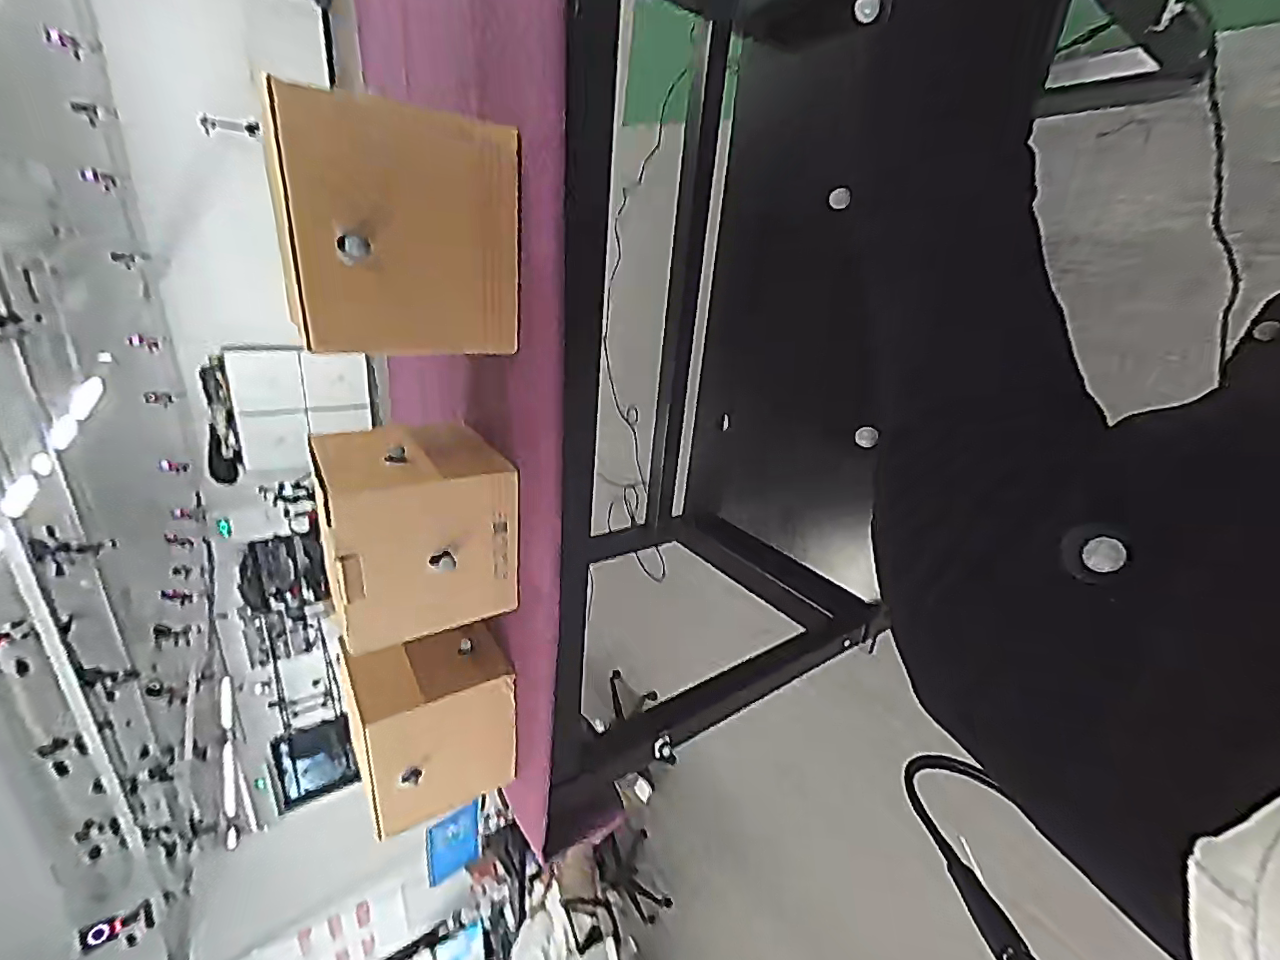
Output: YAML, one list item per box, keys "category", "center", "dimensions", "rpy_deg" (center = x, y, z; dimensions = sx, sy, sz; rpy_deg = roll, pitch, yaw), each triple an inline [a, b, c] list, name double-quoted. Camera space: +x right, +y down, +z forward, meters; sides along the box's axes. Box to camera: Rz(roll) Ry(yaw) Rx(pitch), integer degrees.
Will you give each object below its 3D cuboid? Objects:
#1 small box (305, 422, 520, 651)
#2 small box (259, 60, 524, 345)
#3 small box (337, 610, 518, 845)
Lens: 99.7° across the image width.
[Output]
- category: "small box"
  center: [-0.235, 0.041, 0.570]
  dimensions: [0.179, 0.176, 0.168]
  rpy_deg: [31, 123, 48]
- category: "small box"
  center: [-0.208, -0.220, 0.466]
  dimensions: [0.168, 0.176, 0.179]
  rpy_deg: [33, 126, 48]
- category: "small box"
  center: [-0.258, 0.284, 0.664]
  dimensions: [0.168, 0.176, 0.179]
  rpy_deg: [30, 122, 48]
